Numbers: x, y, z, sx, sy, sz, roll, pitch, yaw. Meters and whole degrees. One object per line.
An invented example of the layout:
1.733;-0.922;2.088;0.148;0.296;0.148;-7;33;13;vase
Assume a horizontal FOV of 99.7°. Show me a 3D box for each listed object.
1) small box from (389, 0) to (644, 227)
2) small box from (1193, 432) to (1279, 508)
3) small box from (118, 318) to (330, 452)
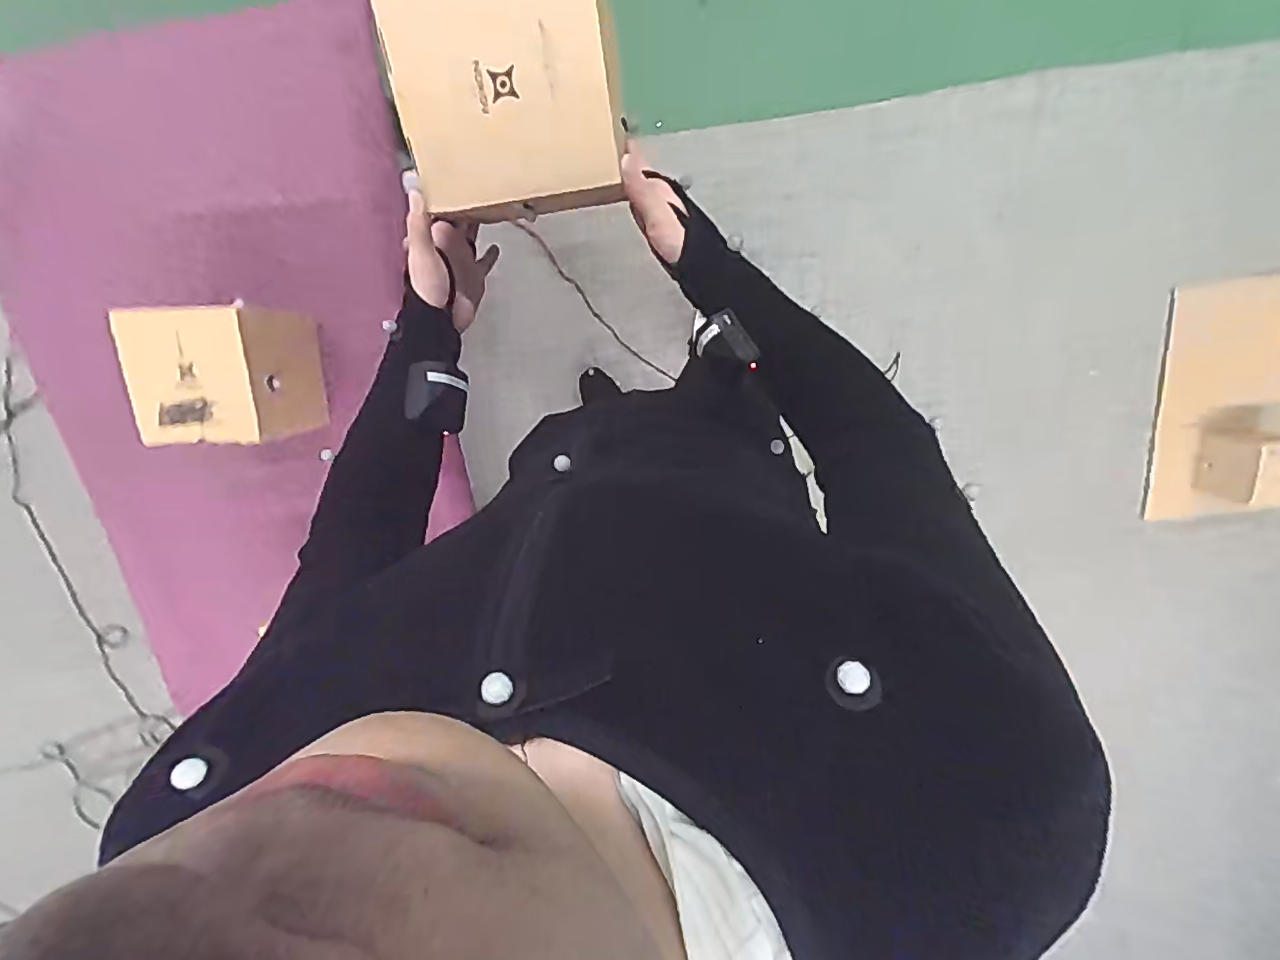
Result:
-0.095;-0.340;0.510;0.179;0.176;0.168;-5;113;6;small box
1.730;-0.033;1.523;0.168;0.176;0.179;-3;105;1;small box
-0.585;-0.144;0.789;0.168;0.176;0.179;-1;104;1;small box
